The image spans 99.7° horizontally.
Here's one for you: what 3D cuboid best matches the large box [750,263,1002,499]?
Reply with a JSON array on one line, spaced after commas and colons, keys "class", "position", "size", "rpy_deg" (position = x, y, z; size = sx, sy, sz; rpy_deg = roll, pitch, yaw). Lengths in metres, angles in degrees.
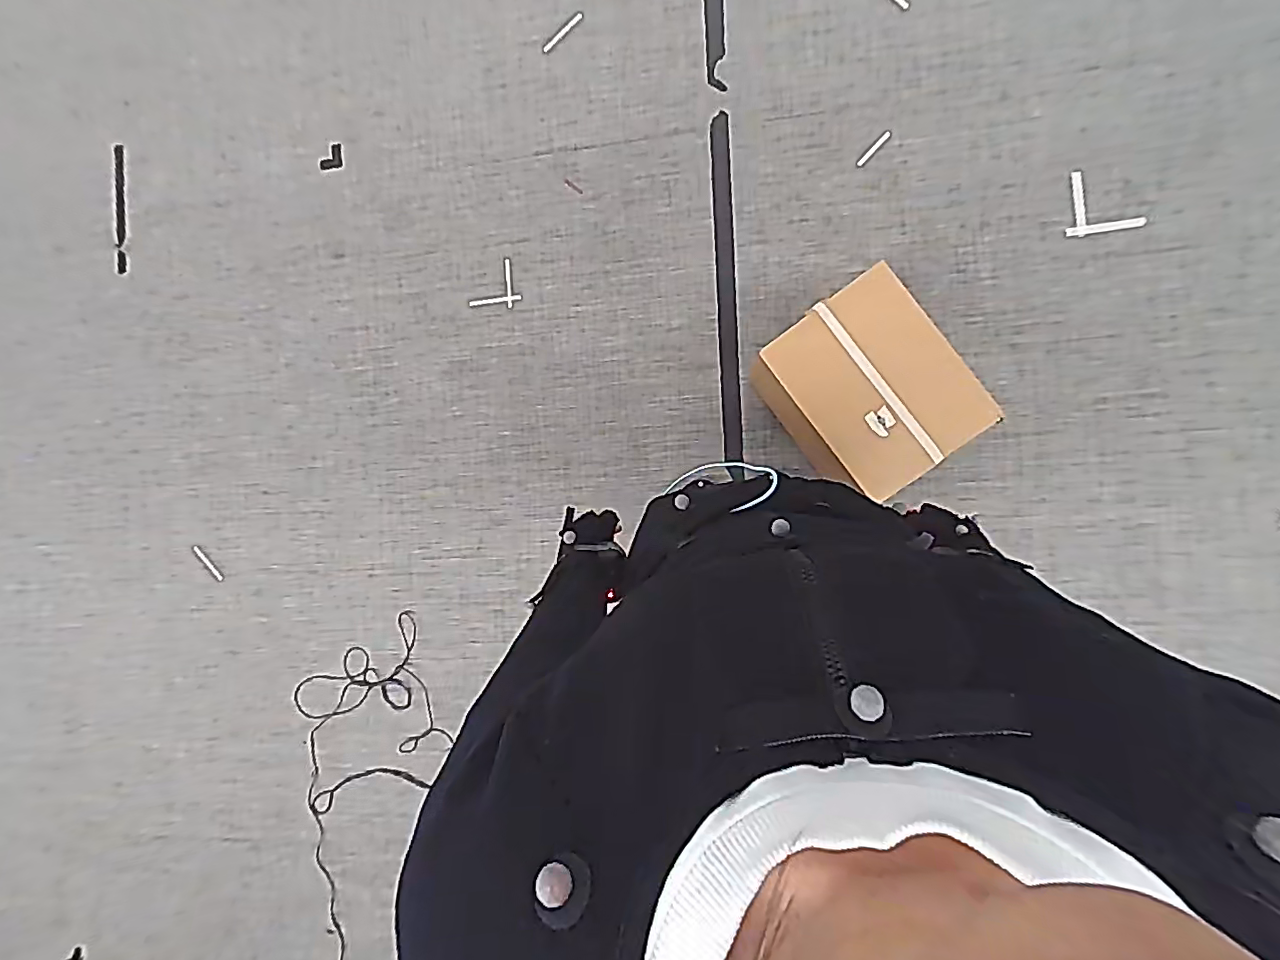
[{"class": "large box", "position": [0.508, -0.206, 1.259], "size": [0.320, 0.320, 0.408], "rpy_deg": [-37, 86, 7]}]
